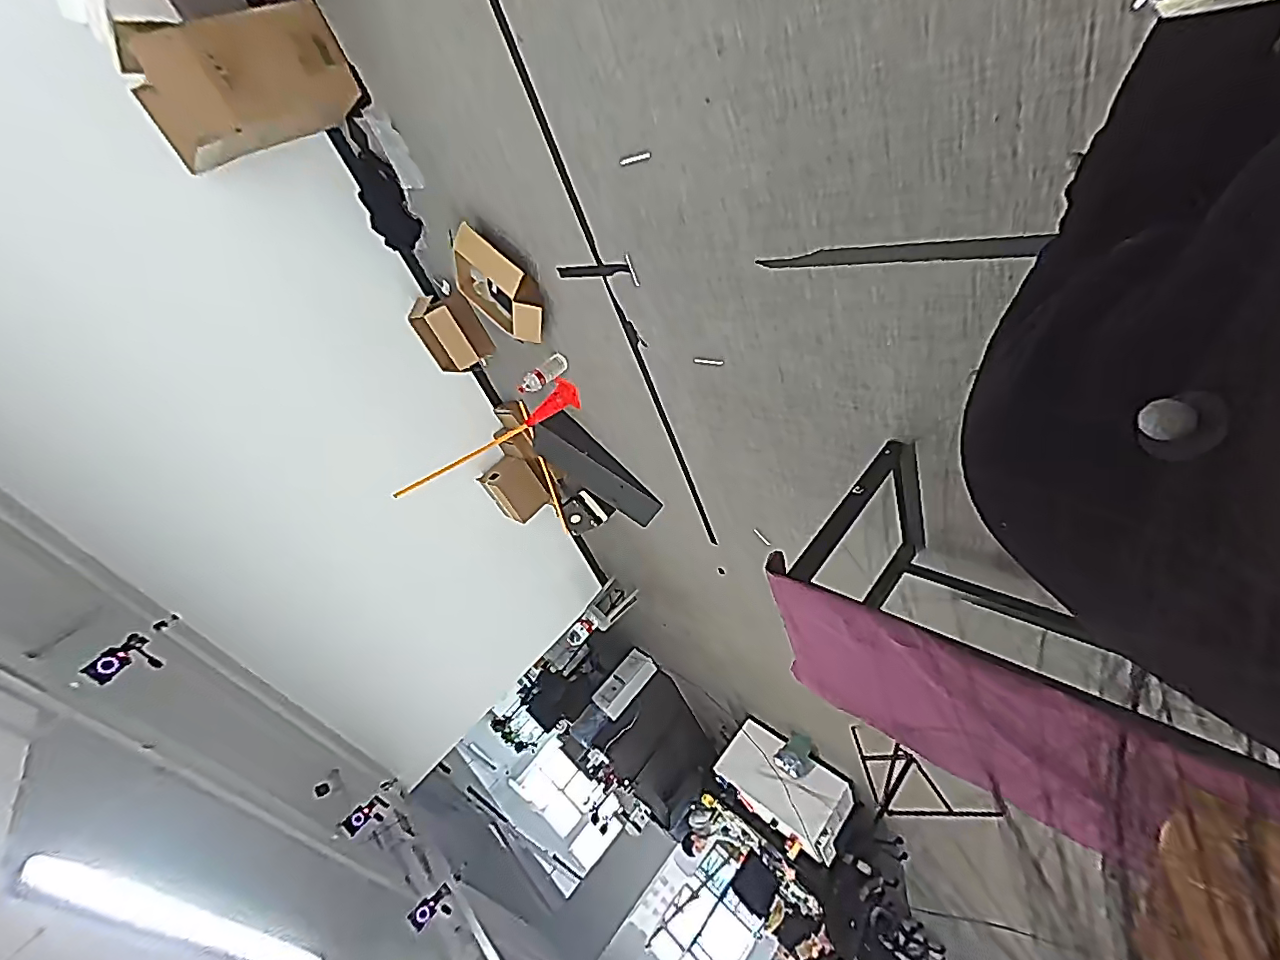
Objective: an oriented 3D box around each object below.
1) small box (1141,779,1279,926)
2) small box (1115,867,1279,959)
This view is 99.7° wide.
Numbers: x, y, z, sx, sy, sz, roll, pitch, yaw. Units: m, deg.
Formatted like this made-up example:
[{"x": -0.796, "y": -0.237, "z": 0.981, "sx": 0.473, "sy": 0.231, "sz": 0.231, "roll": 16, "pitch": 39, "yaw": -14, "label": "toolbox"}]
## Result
[{"x": 1.031, "y": 0.684, "z": 0.965, "sx": 0.168, "sy": 0.176, "sz": 0.179, "roll": 16, "pitch": 142, "yaw": 47, "label": "small box"}, {"x": 0.927, "y": 0.788, "z": 0.897, "sx": 0.179, "sy": 0.176, "sz": 0.168, "roll": 14, "pitch": 142, "yaw": 47, "label": "small box"}]
